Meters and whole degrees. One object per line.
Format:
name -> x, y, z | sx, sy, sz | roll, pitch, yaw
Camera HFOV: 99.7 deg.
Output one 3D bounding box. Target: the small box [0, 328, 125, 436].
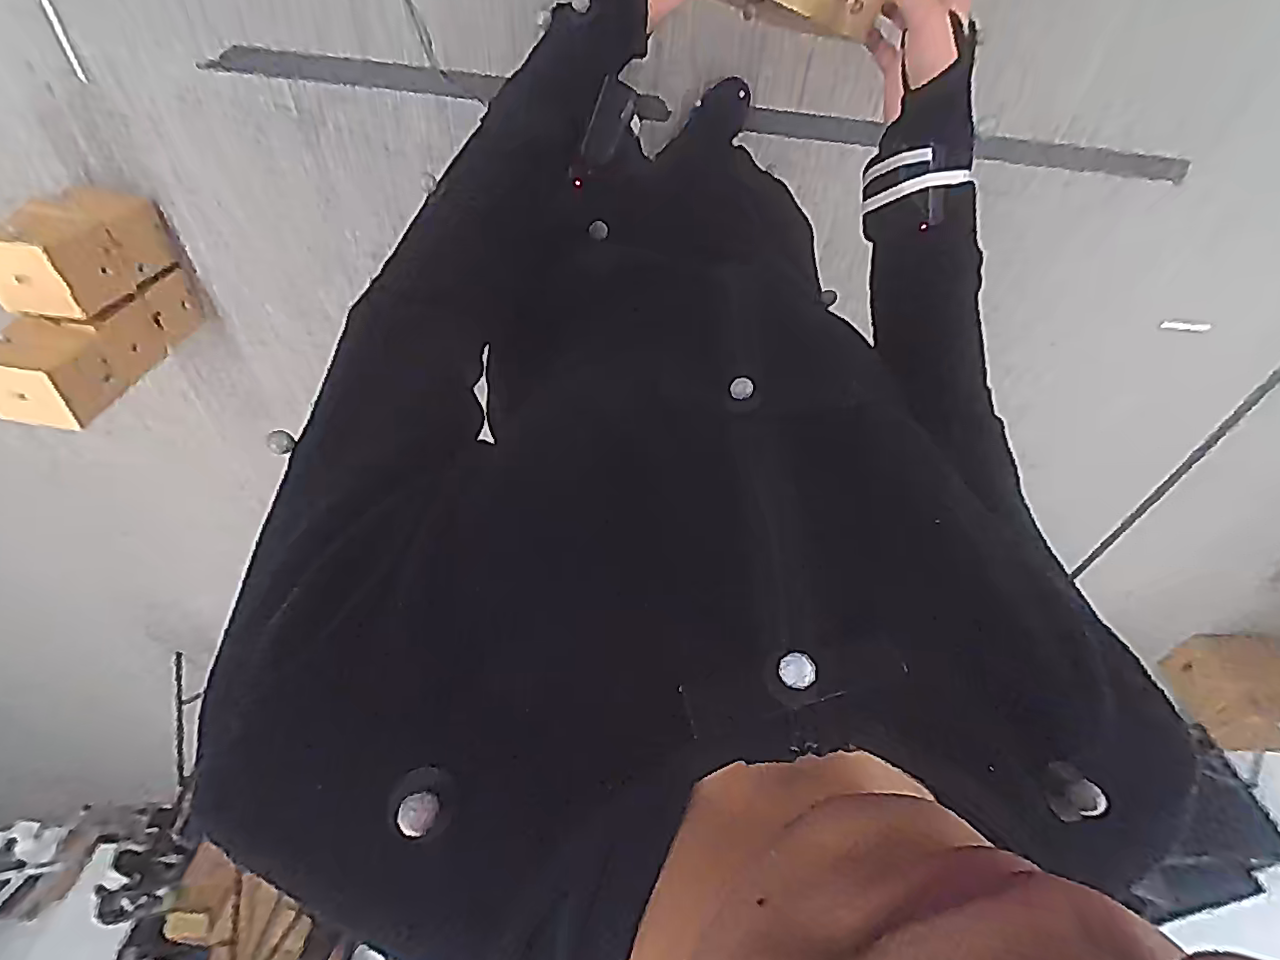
small box -> -1.352, -0.227, 1.232 | 0.179, 0.176, 0.168 | 9, 133, -9
